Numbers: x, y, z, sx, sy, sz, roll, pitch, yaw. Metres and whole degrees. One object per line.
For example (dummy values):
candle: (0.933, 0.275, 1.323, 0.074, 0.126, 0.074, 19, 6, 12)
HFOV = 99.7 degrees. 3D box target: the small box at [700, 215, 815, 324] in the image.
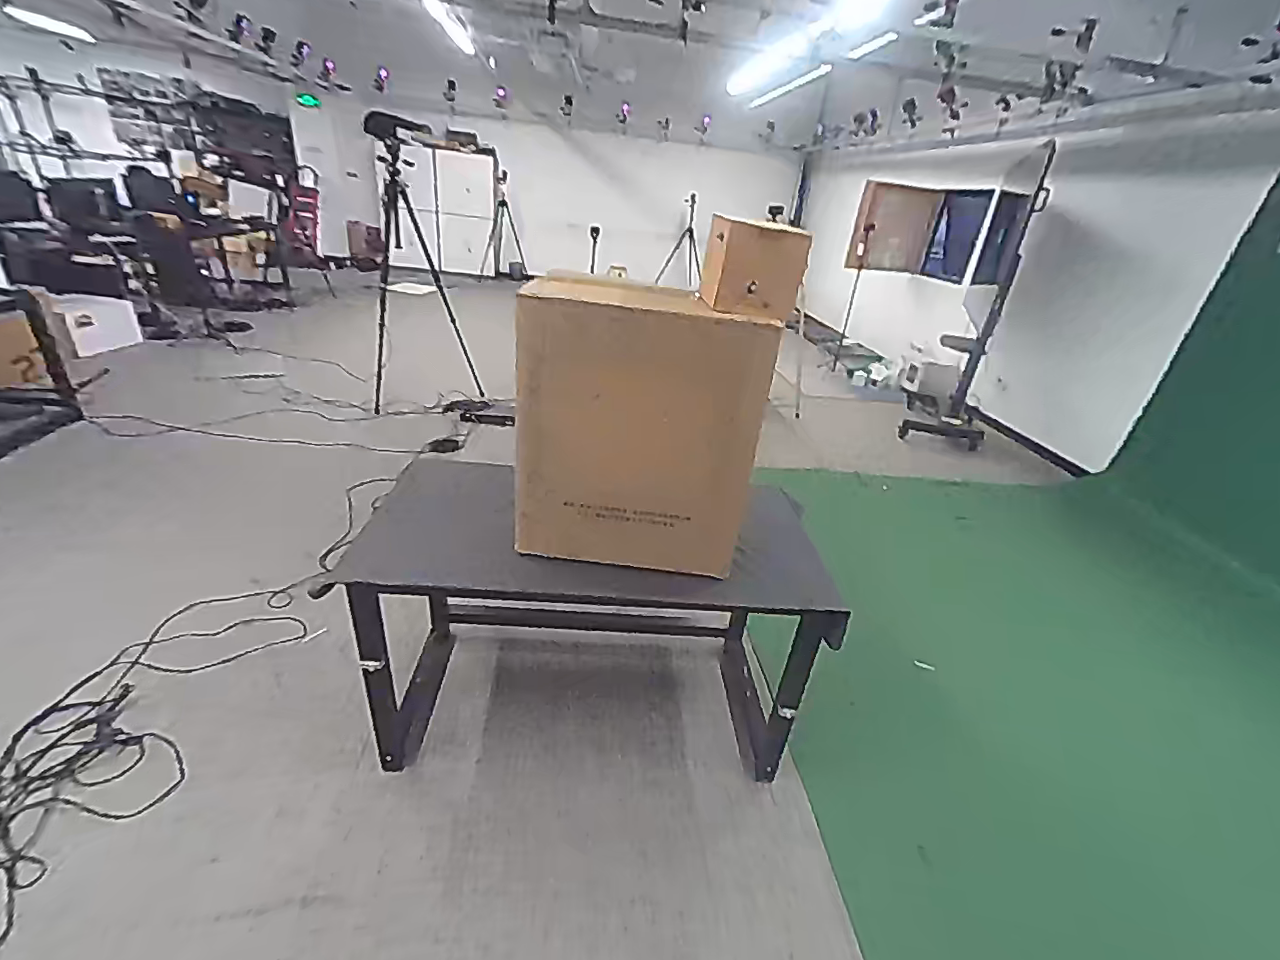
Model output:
small box: (0.230, -0.435, 1.115, 0.168, 0.176, 0.179, 5, 30, -9)
